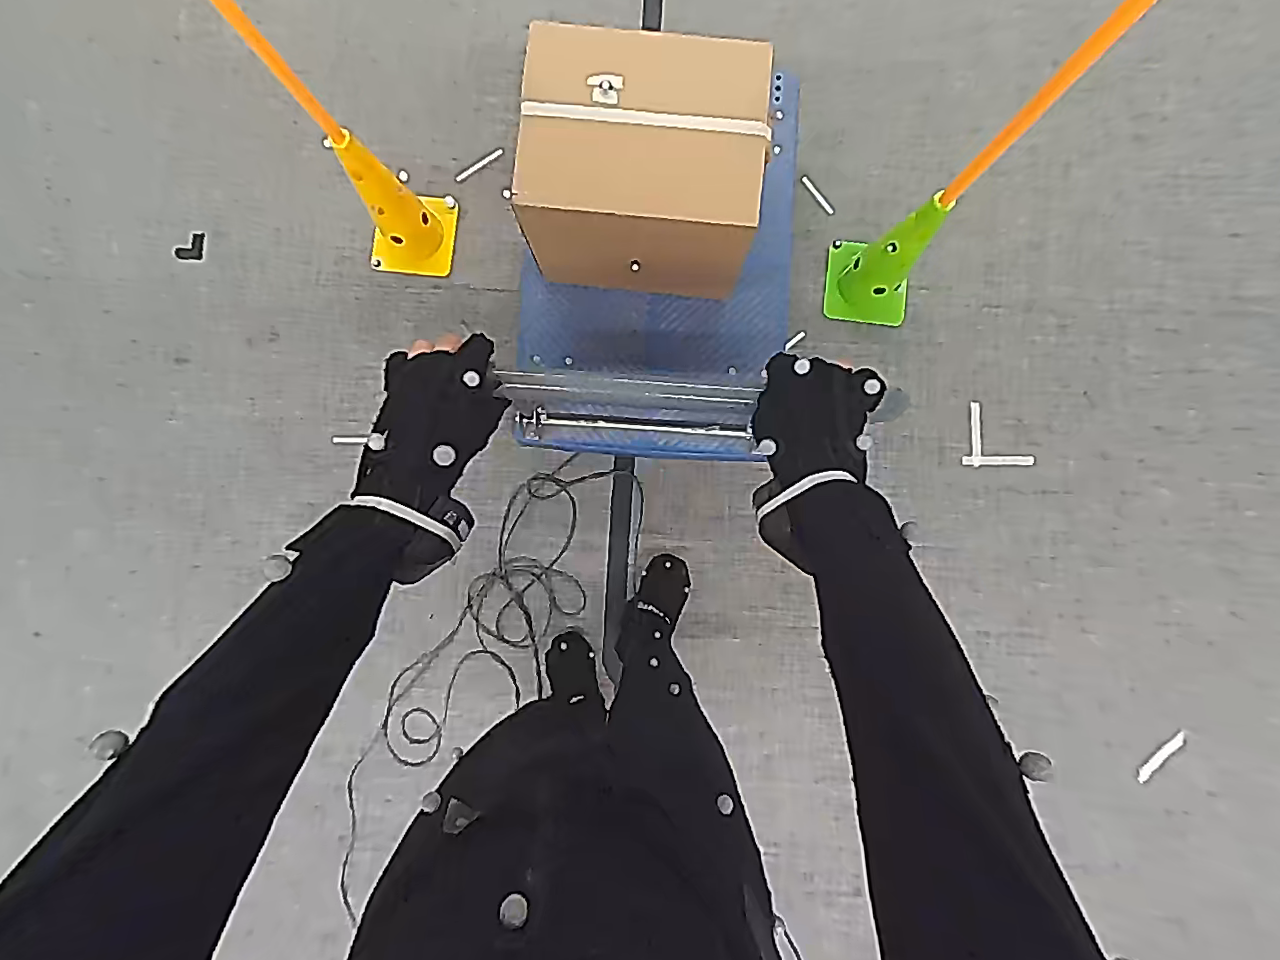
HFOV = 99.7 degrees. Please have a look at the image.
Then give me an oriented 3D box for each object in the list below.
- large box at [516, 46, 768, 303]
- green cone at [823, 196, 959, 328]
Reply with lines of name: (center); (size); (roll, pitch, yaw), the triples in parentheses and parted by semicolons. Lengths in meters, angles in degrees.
large box: (0.008, -0.557, 1.047); (0.408, 0.320, 0.320); (6, 87, 2)
green cone: (0.567, -0.495, 1.183); (0.202, 0.368, 0.200); (7, 87, 0)
